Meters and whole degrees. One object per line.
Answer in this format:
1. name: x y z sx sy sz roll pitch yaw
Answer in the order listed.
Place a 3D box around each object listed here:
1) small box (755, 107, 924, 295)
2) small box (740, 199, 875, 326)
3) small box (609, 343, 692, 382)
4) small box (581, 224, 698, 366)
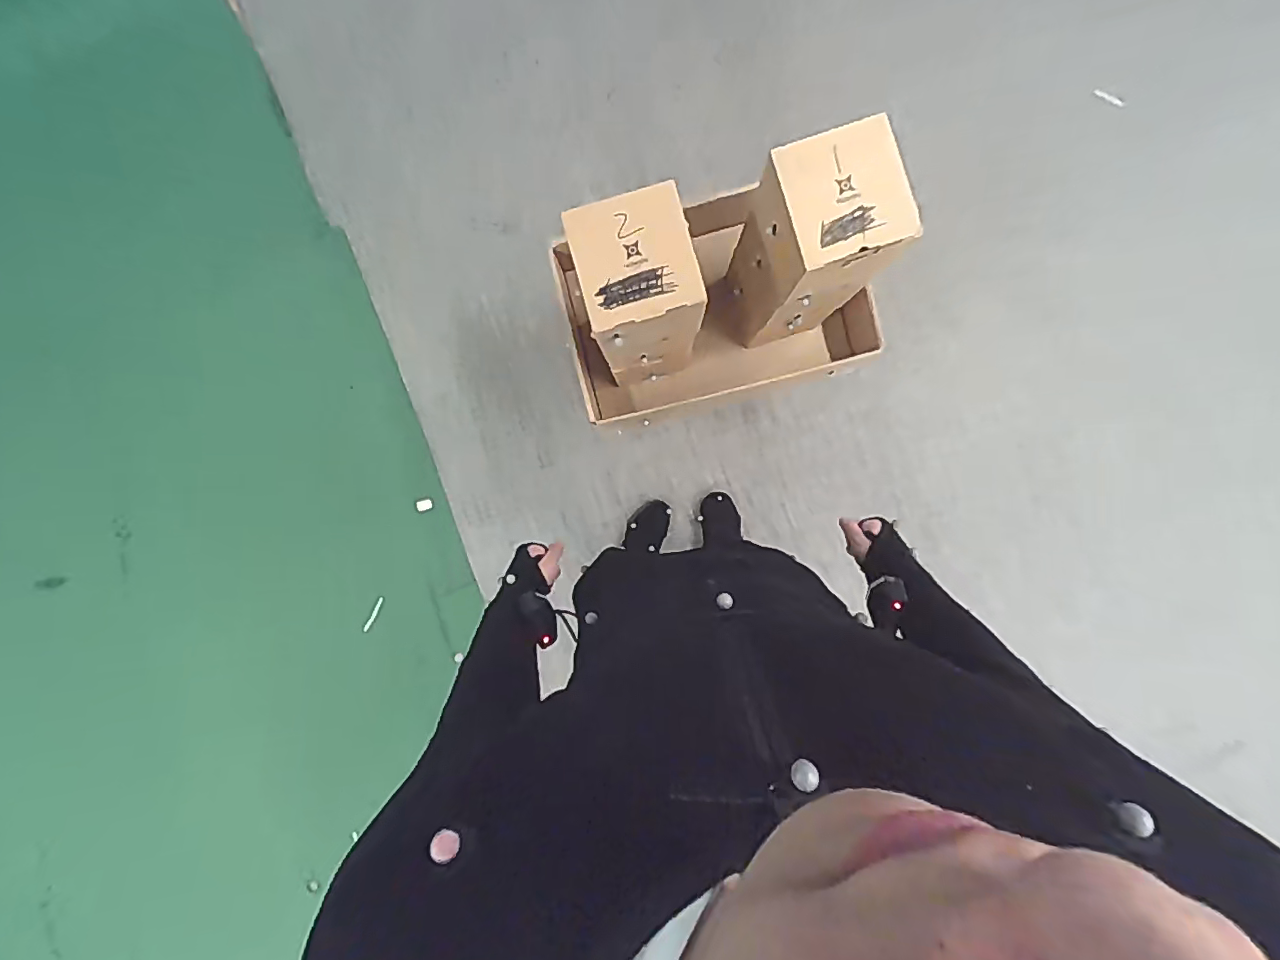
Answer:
1. small box: 0.283 -0.393 0.802 0.168 0.176 0.179 -17 89 2
2. small box: 0.287 -0.399 0.965 0.168 0.176 0.179 -16 91 2
3. small box: 0.005 -0.321 1.135 0.168 0.176 0.179 -14 89 2
4. small box: -0.001 -0.323 0.974 0.168 0.176 0.179 -14 90 1
